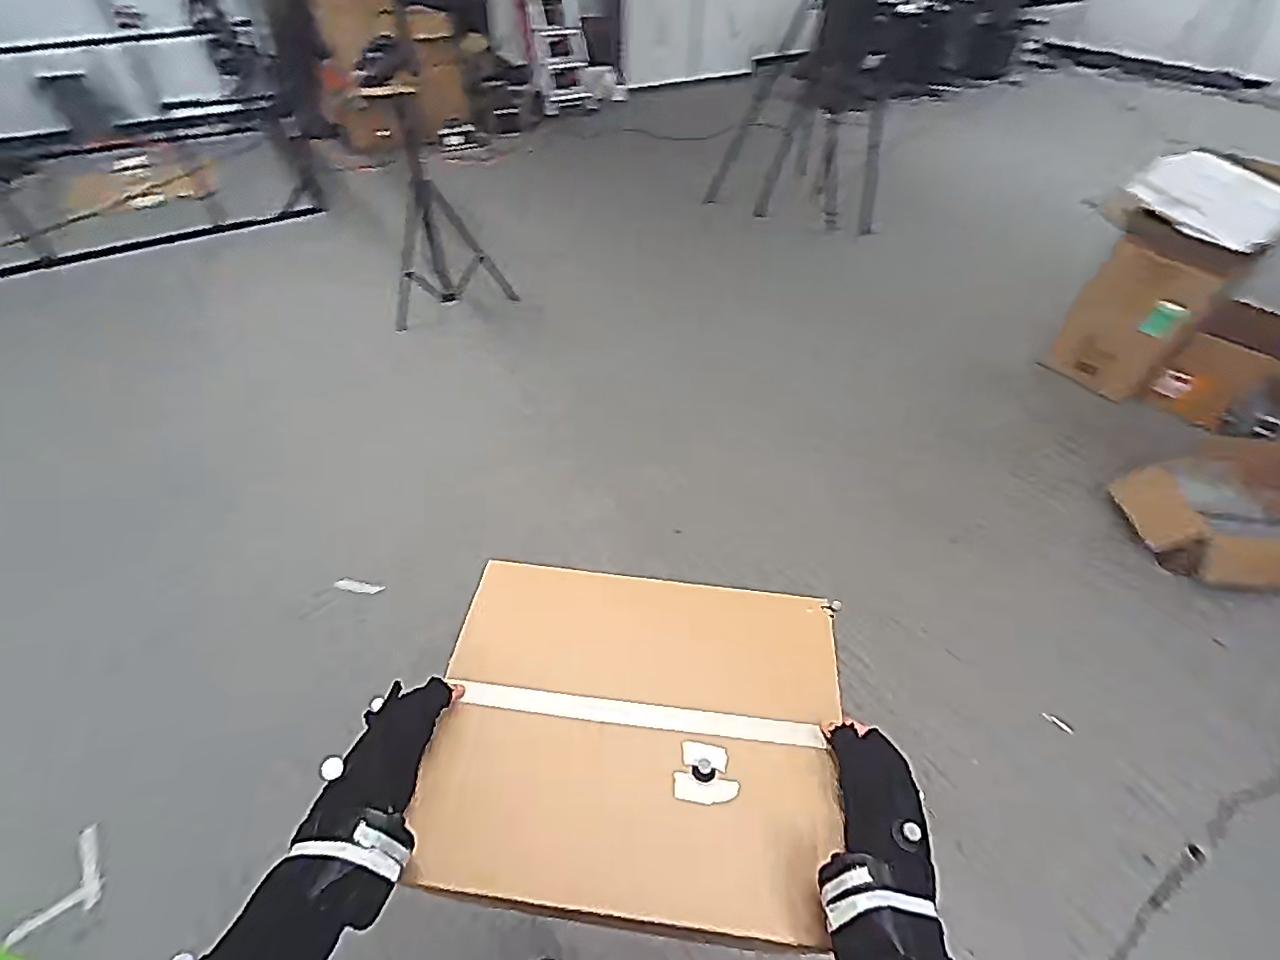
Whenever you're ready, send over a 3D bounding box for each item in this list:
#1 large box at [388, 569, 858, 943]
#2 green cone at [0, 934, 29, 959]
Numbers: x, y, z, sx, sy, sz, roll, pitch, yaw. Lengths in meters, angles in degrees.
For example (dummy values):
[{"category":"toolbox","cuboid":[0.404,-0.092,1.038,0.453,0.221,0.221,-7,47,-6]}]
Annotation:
[{"category":"large box","cuboid":[-0.010,0.335,0.655,0.408,0.320,0.320,6,49,3]},{"category":"green cone","cuboid":[-1.340,0.884,0.922,0.202,0.368,0.200,13,47,12]}]
